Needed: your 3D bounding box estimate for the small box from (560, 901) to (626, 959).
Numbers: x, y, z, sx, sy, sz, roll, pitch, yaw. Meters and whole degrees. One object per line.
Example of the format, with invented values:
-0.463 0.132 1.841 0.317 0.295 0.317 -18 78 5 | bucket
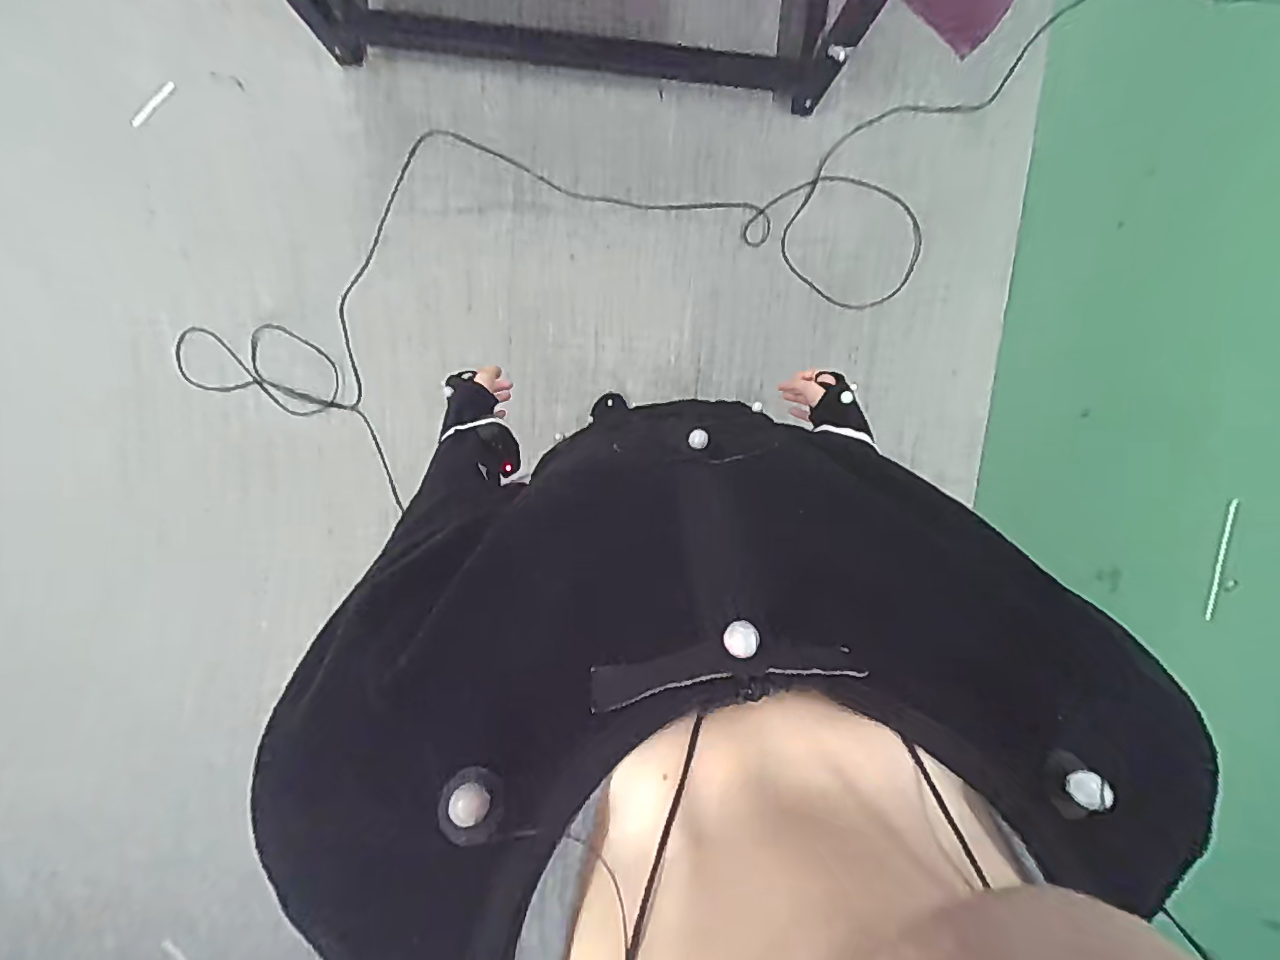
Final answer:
-0.137 1.349 1.547 0.179 0.176 0.168 3 96 -5 | small box
